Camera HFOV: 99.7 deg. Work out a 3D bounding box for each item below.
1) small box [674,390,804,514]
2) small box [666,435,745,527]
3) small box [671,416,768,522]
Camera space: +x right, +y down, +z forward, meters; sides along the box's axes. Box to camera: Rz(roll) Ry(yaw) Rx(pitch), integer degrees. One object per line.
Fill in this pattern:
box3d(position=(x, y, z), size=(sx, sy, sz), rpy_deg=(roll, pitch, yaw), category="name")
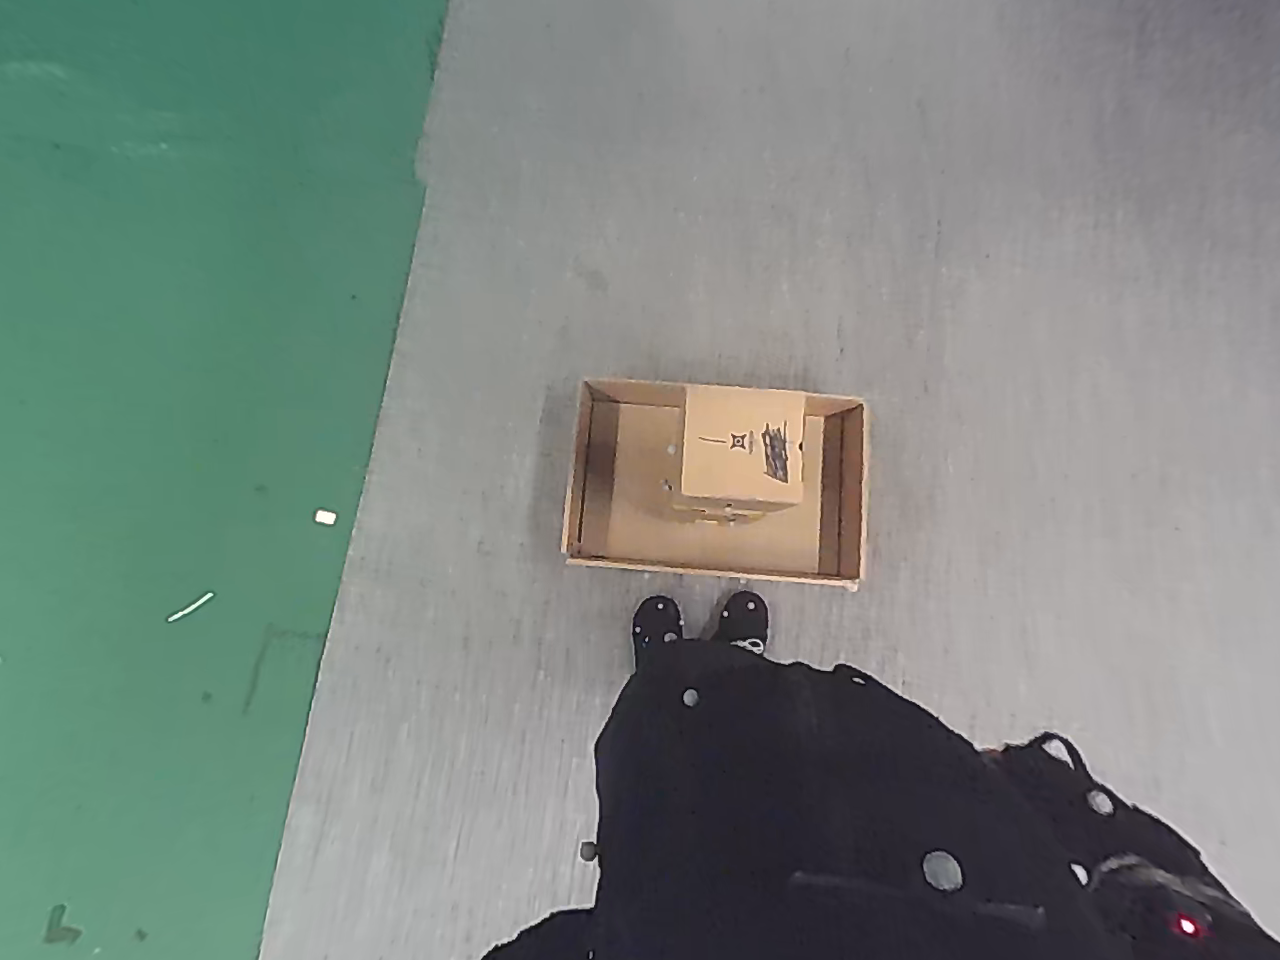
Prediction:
box3d(position=(0.150, -0.037, 0.864), size=(0.179, 0.176, 0.168), rpy_deg=(4, 82, 2), category="small box")
box3d(position=(0.146, 0.008, 1.187), size=(0.168, 0.176, 0.179), rpy_deg=(5, 82, 2), category="small box")
box3d(position=(0.144, -0.012, 1.010), size=(0.168, 0.176, 0.179), rpy_deg=(2, 83, 2), category="small box")
